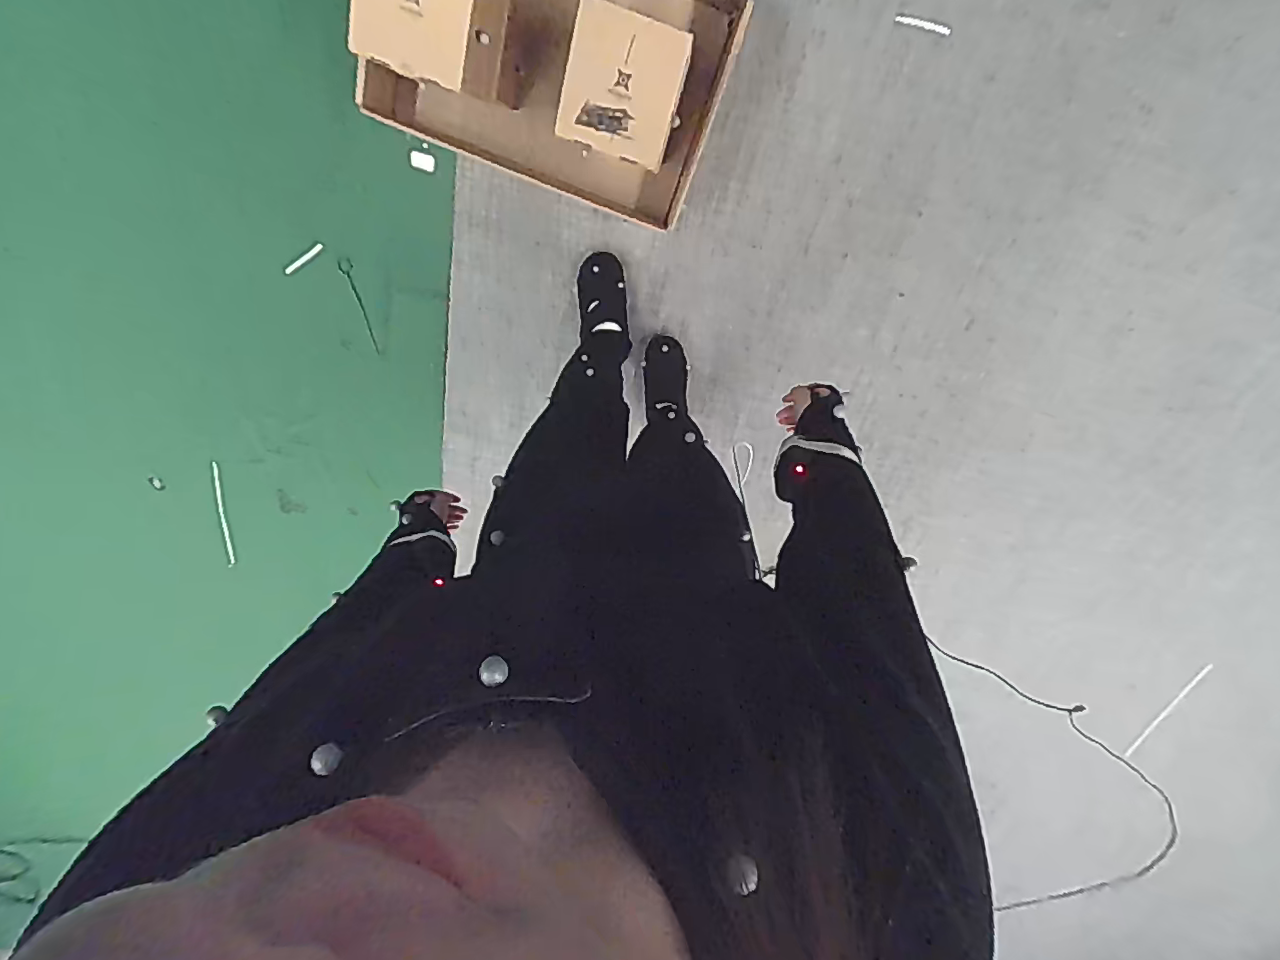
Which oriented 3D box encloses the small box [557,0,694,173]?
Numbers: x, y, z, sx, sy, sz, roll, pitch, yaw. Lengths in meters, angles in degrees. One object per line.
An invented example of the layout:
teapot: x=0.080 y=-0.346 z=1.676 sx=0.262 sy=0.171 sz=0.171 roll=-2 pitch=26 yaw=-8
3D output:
small box: x=-0.020 y=-0.609 z=0.862 sx=0.168 sy=0.176 sz=0.179 roll=17 pitch=117 yaw=-6

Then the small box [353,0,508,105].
small box: x=-0.309 y=-0.707 z=0.823 sx=0.168 sy=0.176 sz=0.179 roll=17 pitch=119 yaw=-8
